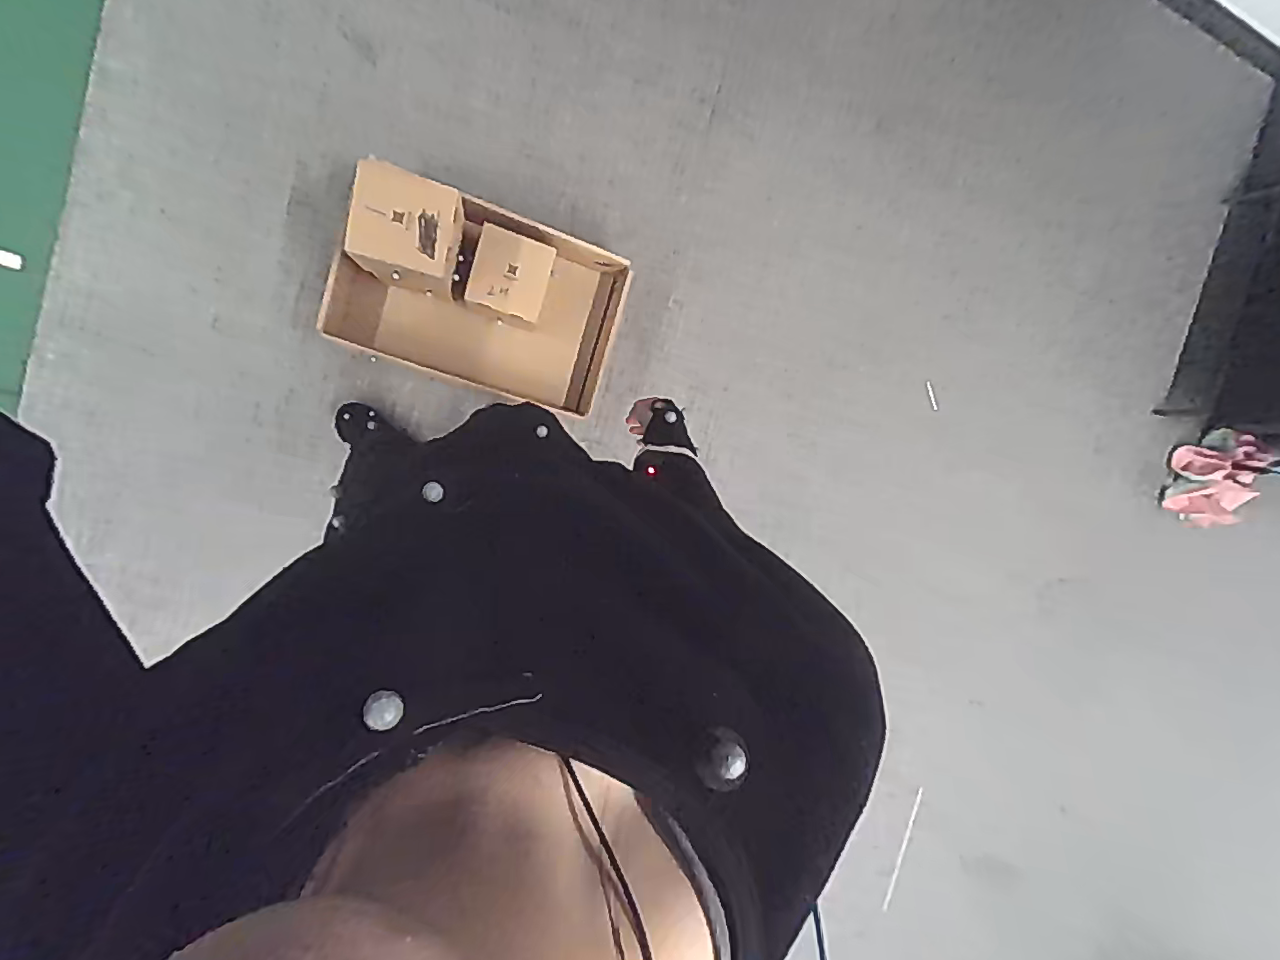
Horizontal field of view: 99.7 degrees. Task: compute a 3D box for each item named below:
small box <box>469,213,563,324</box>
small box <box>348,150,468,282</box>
[{"bbox_3d":[-0.291,-0.485,1.270,0.168,0.176,0.179,17,95,-14],"label":"small box"},{"bbox_3d":[-0.444,-0.502,1.060,0.179,0.176,0.168,12,96,-15],"label":"small box"}]
